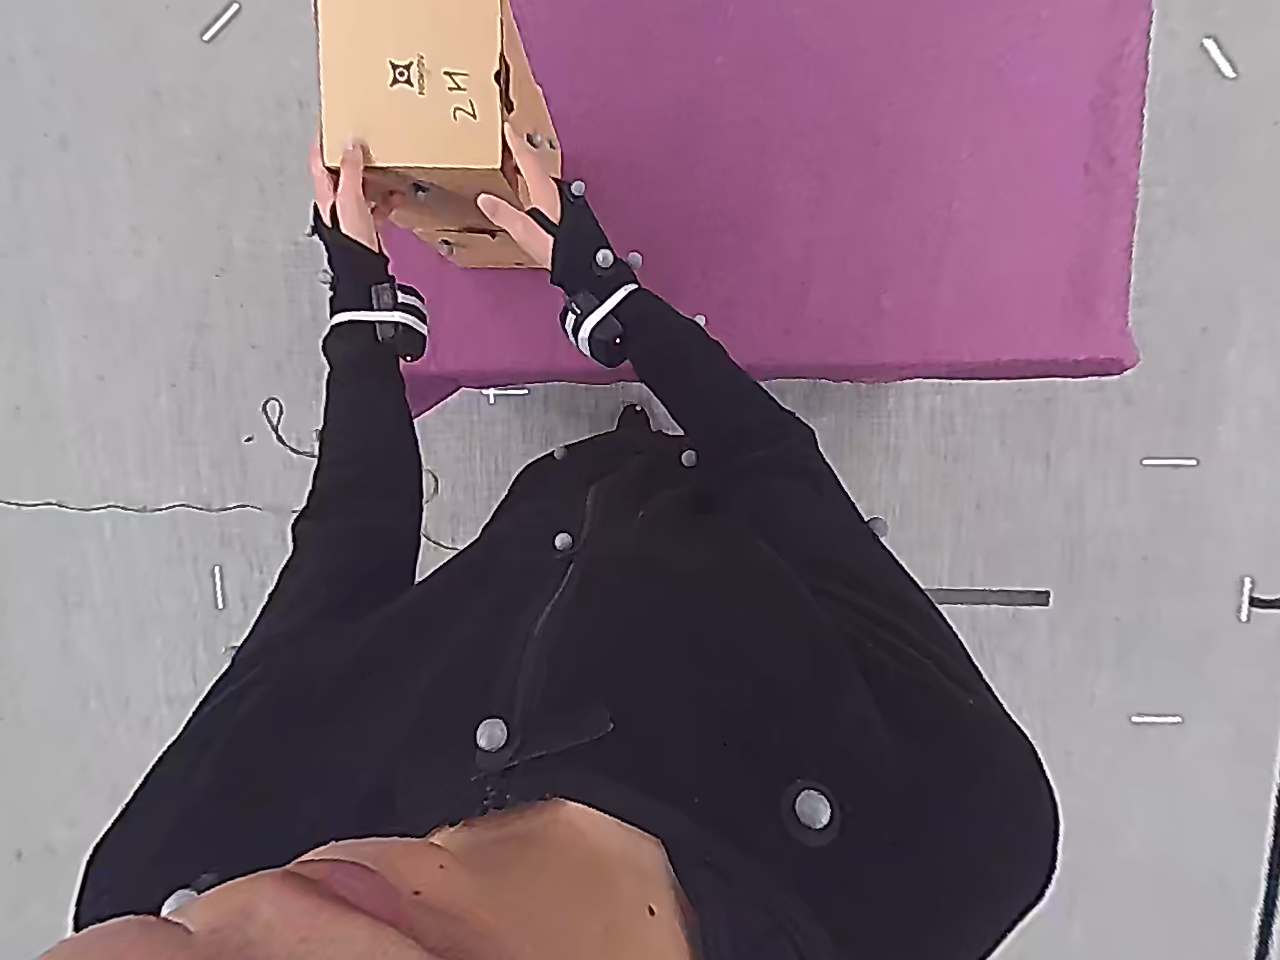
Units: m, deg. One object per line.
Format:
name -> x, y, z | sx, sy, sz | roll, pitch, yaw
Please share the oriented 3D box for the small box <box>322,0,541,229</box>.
small box -> -0.213, -0.388, 0.592 | 0.179, 0.176, 0.168 | 2, 97, 0
